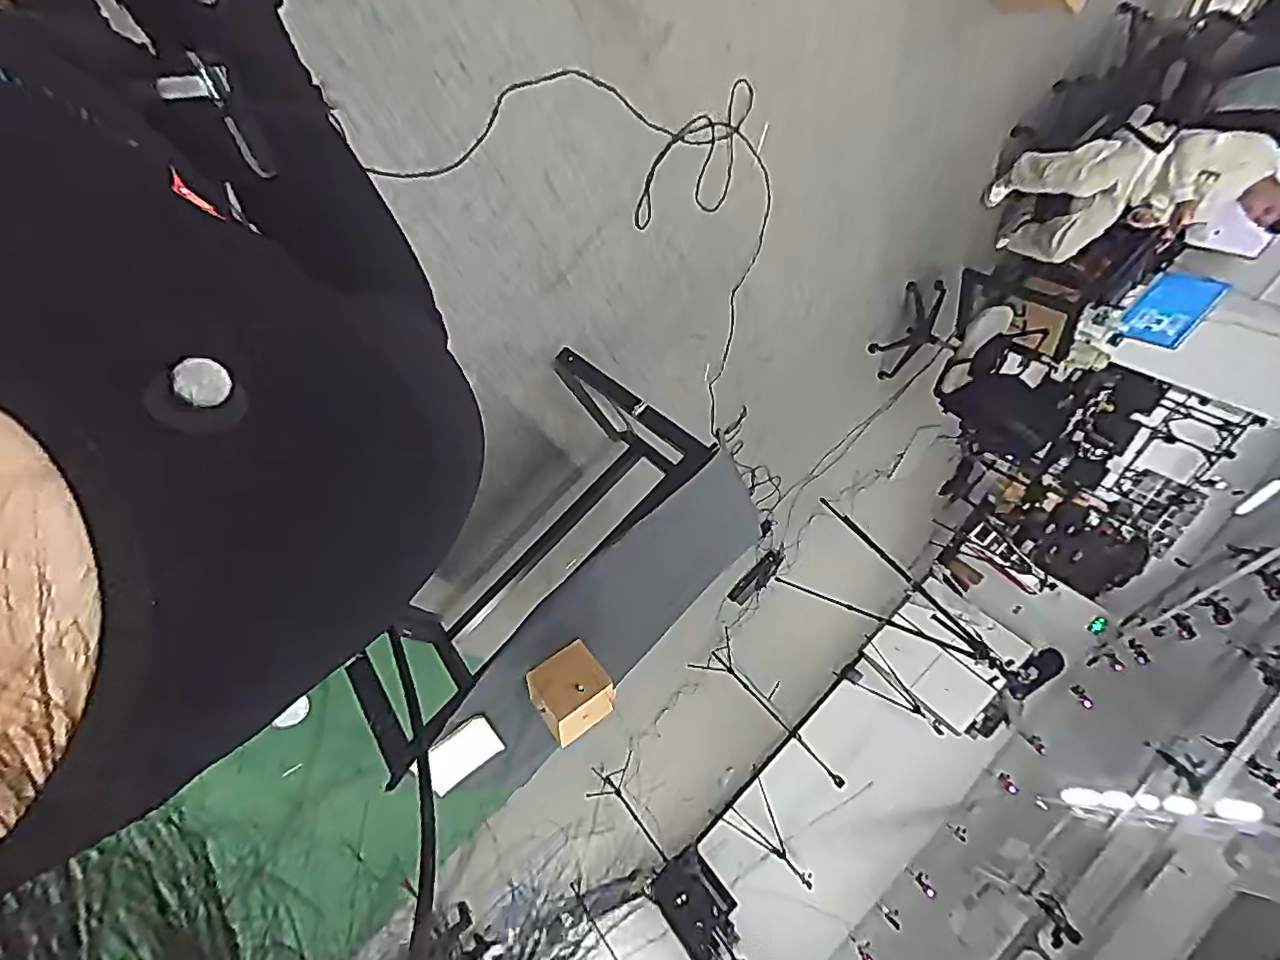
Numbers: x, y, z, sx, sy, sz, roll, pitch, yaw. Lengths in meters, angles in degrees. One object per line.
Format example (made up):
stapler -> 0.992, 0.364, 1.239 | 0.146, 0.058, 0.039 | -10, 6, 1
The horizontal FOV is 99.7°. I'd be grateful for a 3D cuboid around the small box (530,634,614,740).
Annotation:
small box -> -0.189, 0.567, 1.491 | 0.179, 0.176, 0.168 | -29, 141, -29
